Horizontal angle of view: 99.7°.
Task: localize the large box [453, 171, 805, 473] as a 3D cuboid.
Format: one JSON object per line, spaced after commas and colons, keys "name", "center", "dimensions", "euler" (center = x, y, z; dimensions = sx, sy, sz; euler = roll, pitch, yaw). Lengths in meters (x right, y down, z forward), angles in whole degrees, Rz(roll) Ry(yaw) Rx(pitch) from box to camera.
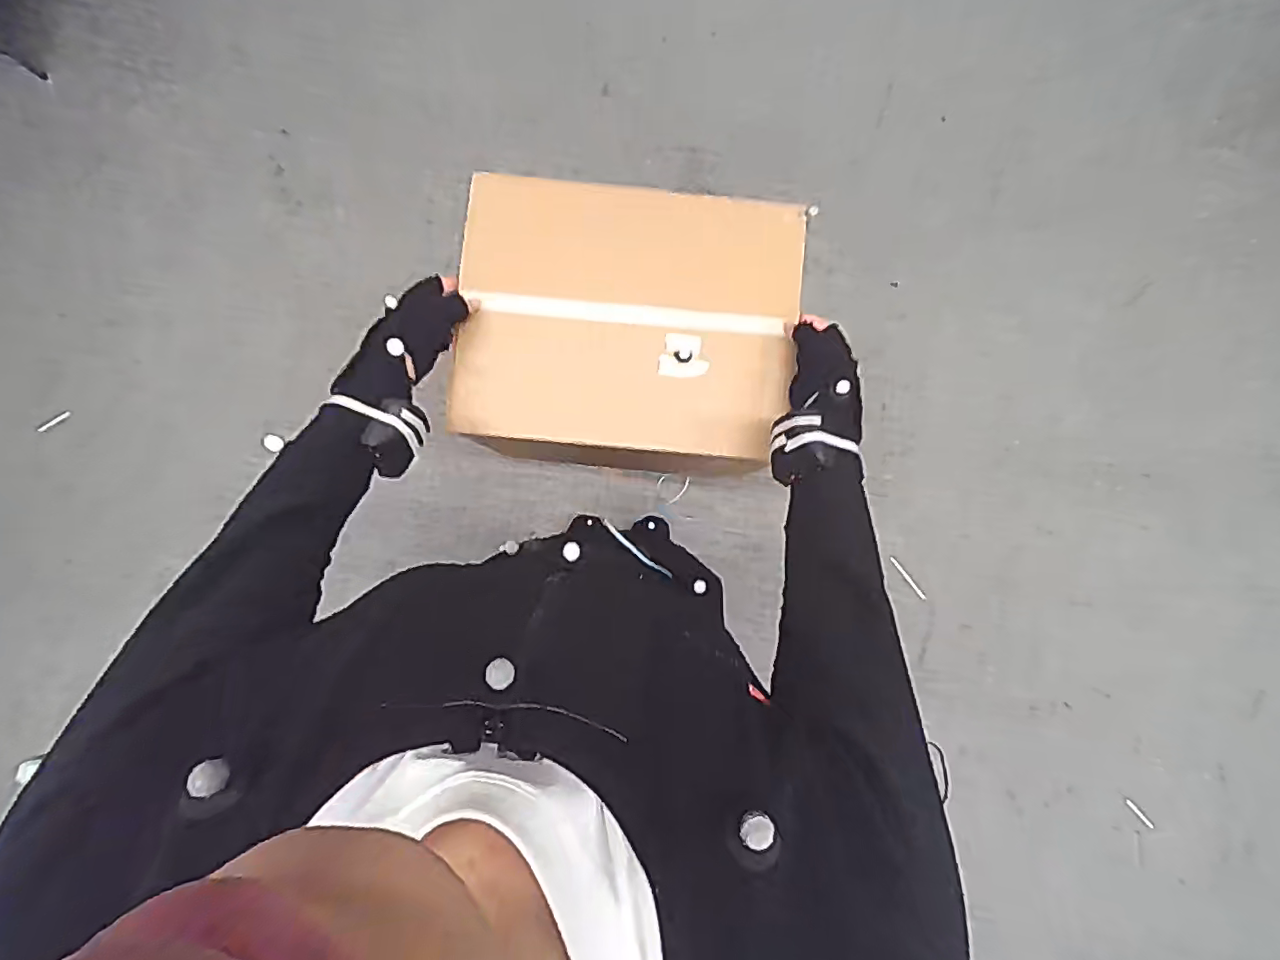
{"name": "large box", "center": [-0.016, -0.191, 0.786], "dimensions": [0.408, 0.320, 0.320], "euler": [5, 86, -2]}
